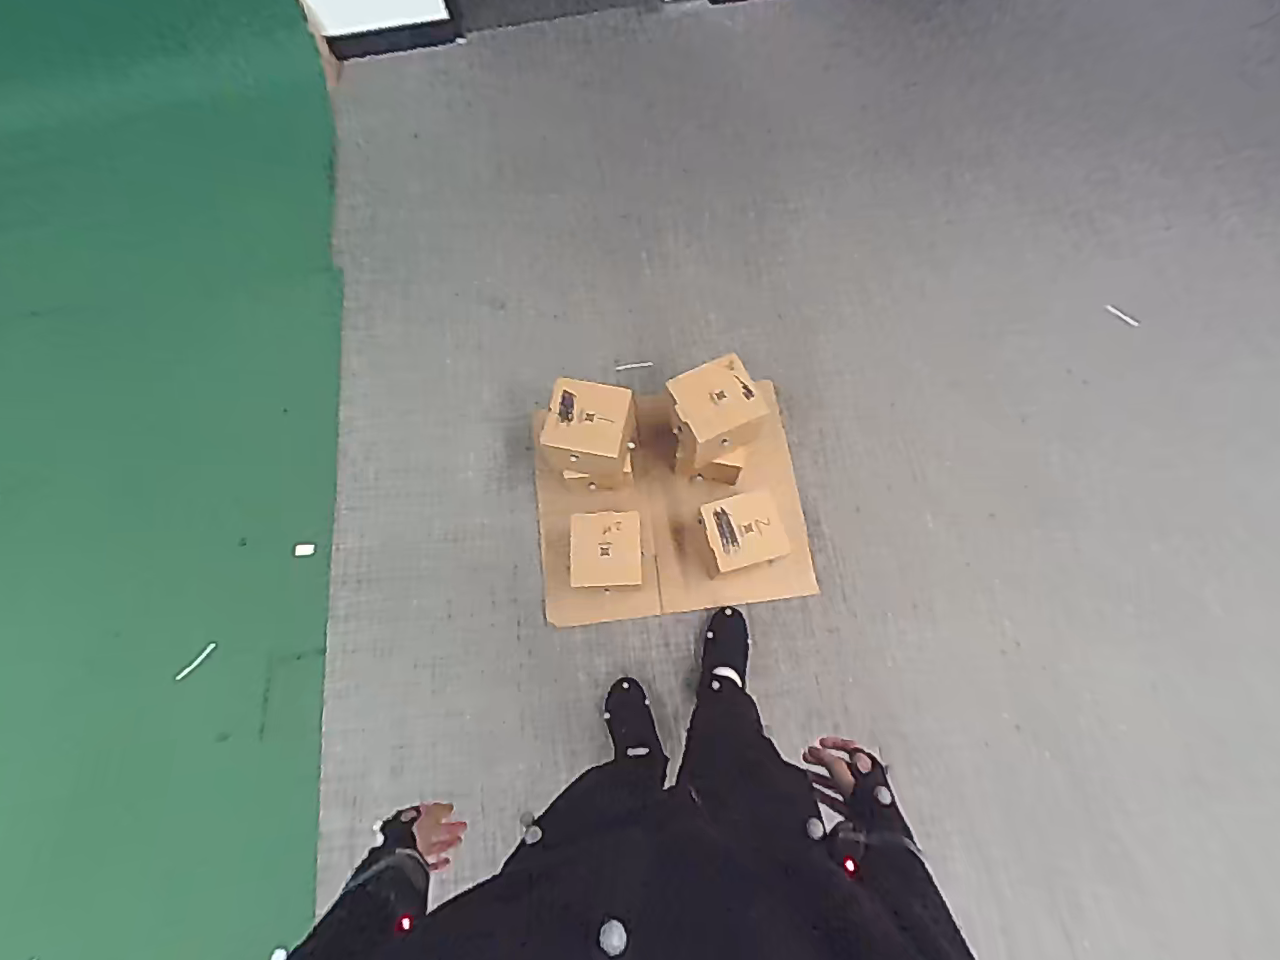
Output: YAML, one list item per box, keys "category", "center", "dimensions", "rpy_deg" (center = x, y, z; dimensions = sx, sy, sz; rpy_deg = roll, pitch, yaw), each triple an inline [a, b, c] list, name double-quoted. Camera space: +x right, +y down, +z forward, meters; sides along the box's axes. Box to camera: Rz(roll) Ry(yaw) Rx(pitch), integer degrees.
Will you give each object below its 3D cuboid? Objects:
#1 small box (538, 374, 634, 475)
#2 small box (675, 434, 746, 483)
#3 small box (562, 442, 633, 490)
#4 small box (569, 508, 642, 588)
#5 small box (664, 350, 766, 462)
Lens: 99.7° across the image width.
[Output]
- category: "small box"
  center: [-0.116, -0.122, 1.252]
  dimensions: [0.179, 0.176, 0.168]
  rpy_deg: [11, 73, 5]
- category: "small box"
  center: [0.186, -0.110, 1.404]
  dimensions: [0.168, 0.176, 0.179]
  rpy_deg: [11, 73, 6]
- category: "small box"
  center: [-0.110, -0.078, 1.410]
  dimensions: [0.168, 0.176, 0.179]
  rpy_deg: [-6, 72, 0]
- category: "small box"
  center: [-0.080, 0.173, 1.331]
  dimensions: [0.168, 0.176, 0.179]
  rpy_deg: [-2, 73, 1]
- category: "small box"
  center: [0.168, -0.163, 1.251]
  dimensions: [0.179, 0.176, 0.168]
  rpy_deg: [-24, 73, -4]
